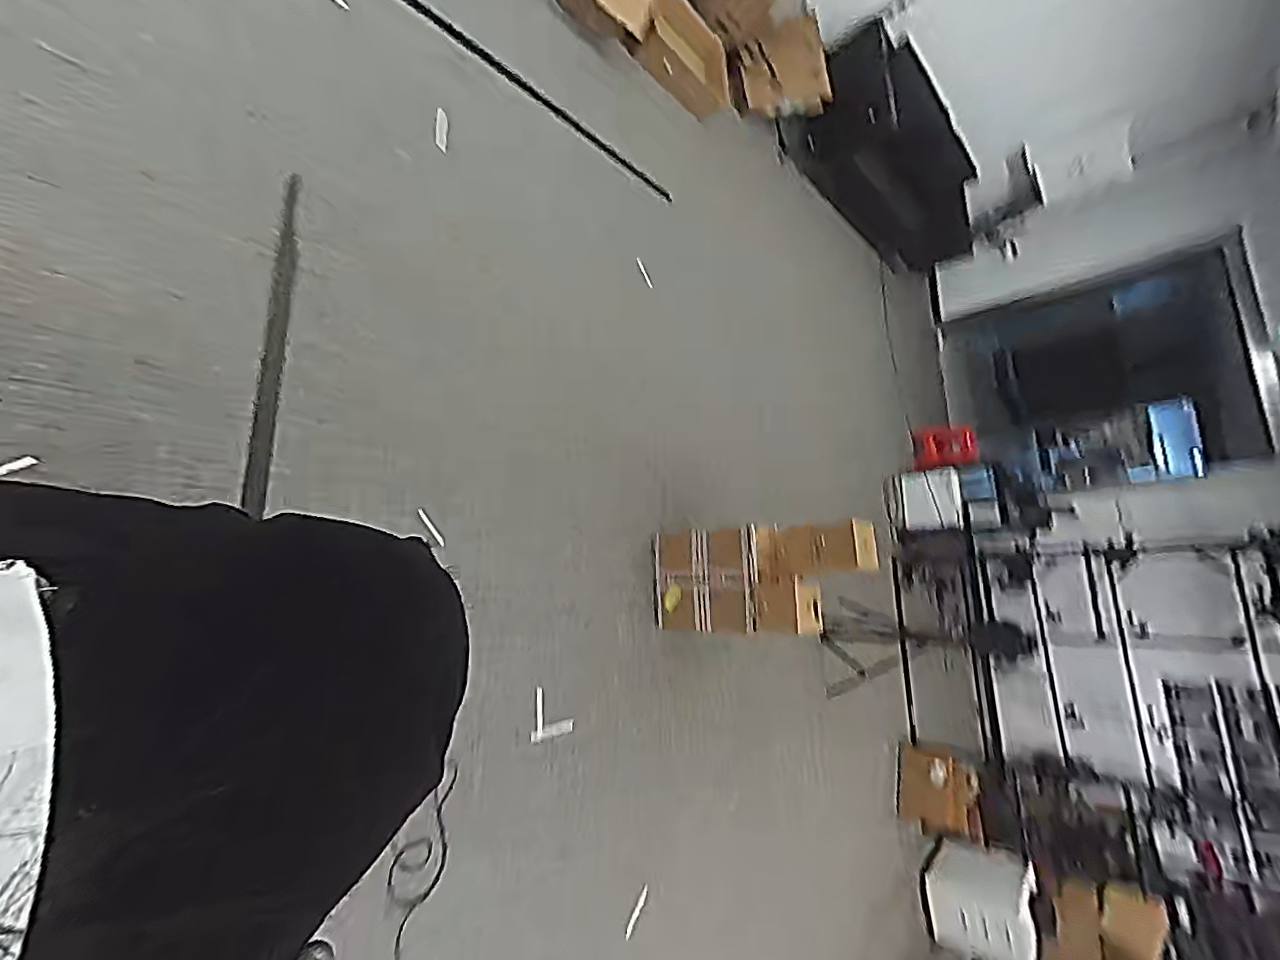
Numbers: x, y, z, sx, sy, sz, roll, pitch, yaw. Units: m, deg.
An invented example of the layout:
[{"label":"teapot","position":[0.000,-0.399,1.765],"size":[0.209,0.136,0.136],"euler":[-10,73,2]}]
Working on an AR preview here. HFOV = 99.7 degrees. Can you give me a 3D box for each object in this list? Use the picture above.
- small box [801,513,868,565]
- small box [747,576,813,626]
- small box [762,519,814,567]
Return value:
[{"label":"small box","position":[0.703,0.219,1.960],"size":[0.179,0.176,0.168],"euler":[10,72,-44]},{"label":"small box","position":[0.501,0.430,1.940],"size":[0.179,0.176,0.168],"euler":[10,75,-44]},{"label":"small box","position":[0.588,0.245,2.072],"size":[0.179,0.176,0.168],"euler":[10,72,-44]}]
